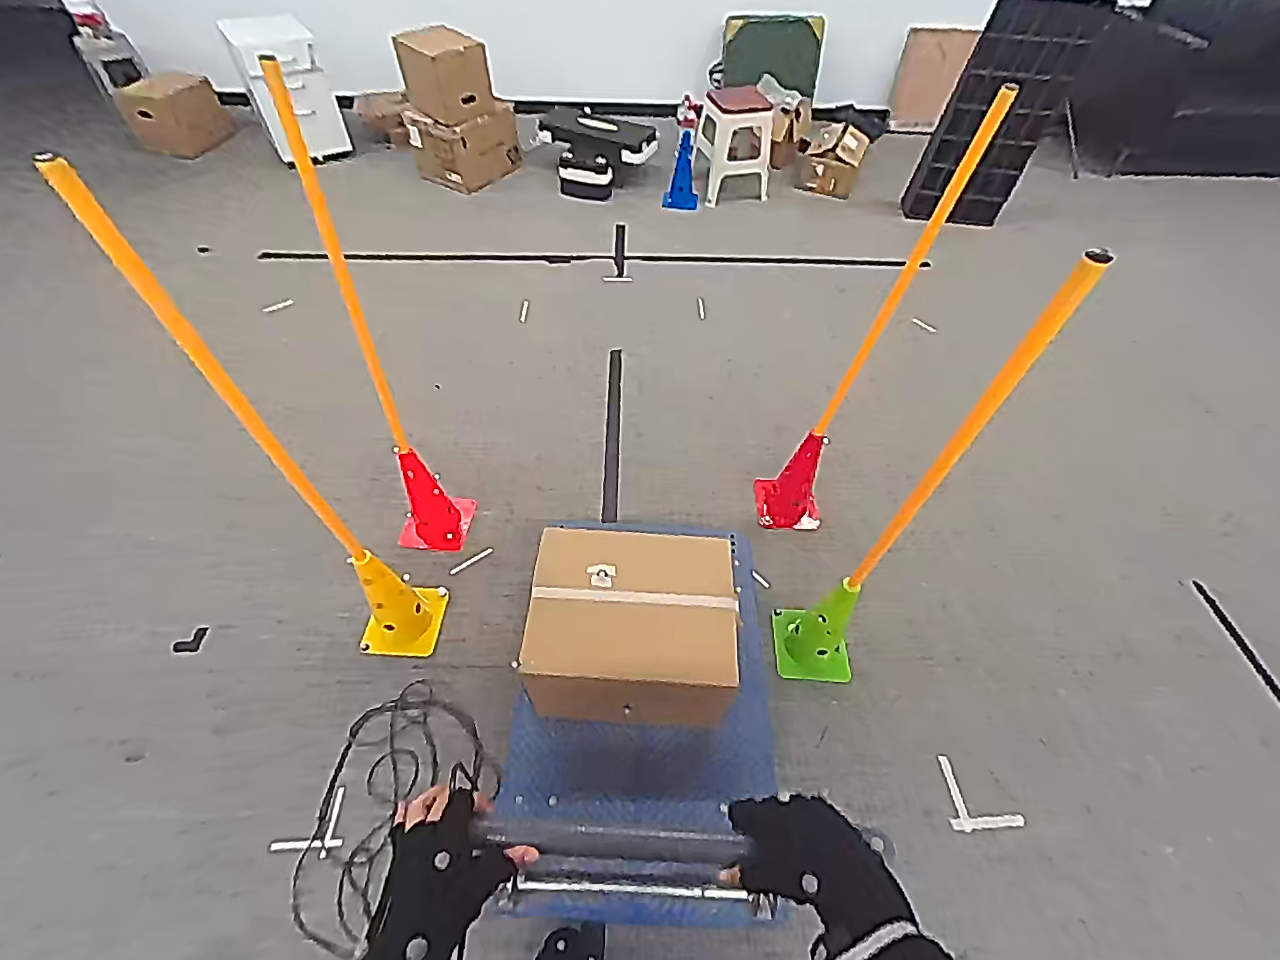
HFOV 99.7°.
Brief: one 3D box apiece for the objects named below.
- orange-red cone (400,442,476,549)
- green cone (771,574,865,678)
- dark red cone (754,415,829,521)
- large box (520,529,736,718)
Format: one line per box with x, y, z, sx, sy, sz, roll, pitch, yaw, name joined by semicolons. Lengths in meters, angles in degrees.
-0.631;0.019;1.589;0.198;0.360;0.199;7;51;2;orange-red cone
0.482;0.346;1.382;0.202;0.368;0.200;5;52;-1;green cone
0.498;-0.047;1.666;0.201;0.394;0.202;2;52;-4;dark red cone
-0.018;0.324;1.195;0.408;0.320;0.320;3;52;1;large box
